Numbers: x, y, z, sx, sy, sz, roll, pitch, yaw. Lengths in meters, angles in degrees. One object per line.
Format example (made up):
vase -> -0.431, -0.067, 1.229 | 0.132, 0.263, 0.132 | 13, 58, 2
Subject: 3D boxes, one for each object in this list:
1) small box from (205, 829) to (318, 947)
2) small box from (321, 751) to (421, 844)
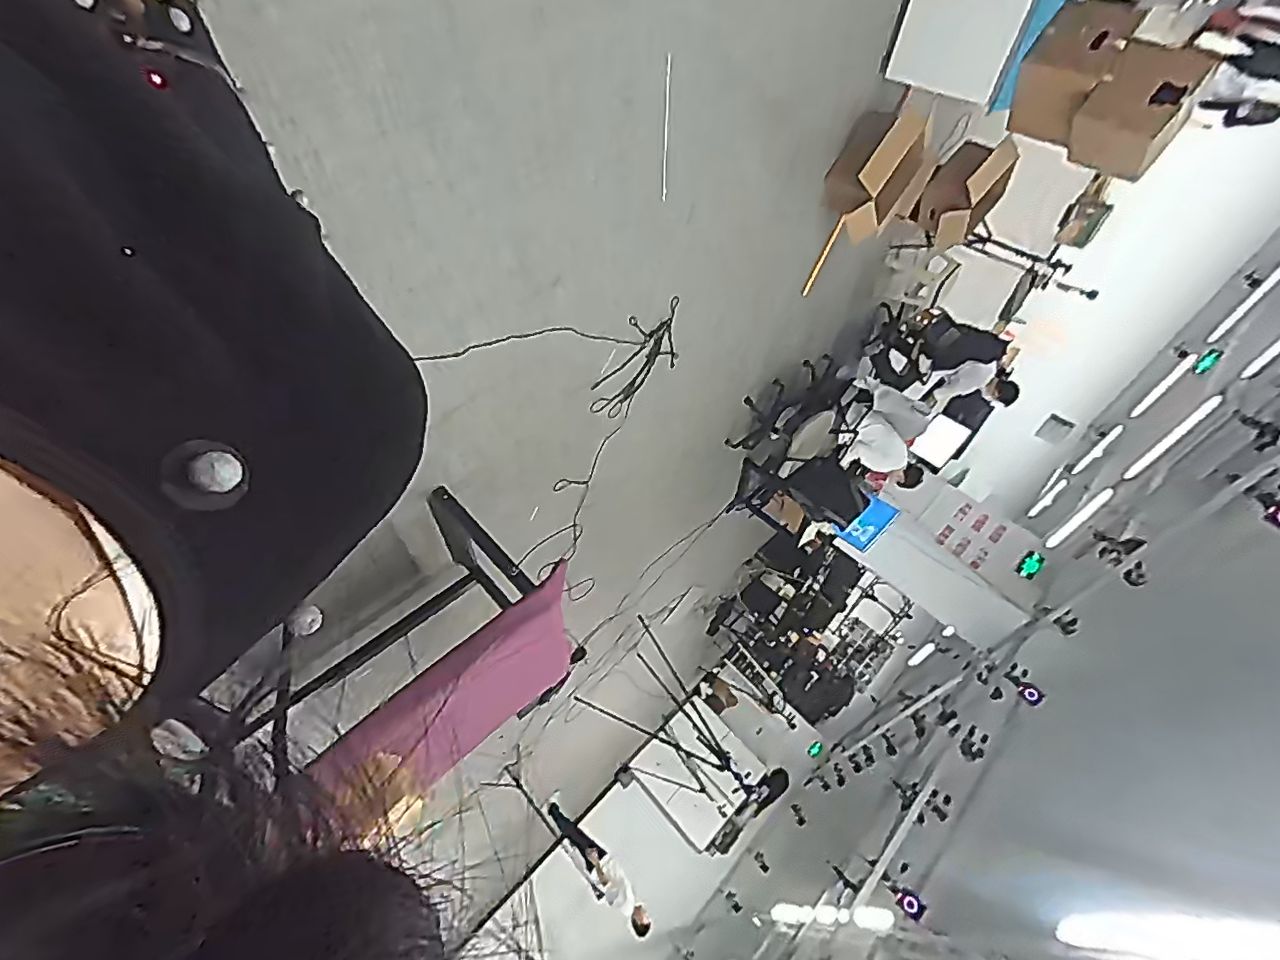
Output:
small box -> -0.986, 1.055, 1.408 | 0.179, 0.176, 0.168 | -38, 152, -24
small box -> -0.775, 0.916, 1.565 | 0.168, 0.176, 0.179 | -40, 153, -22
